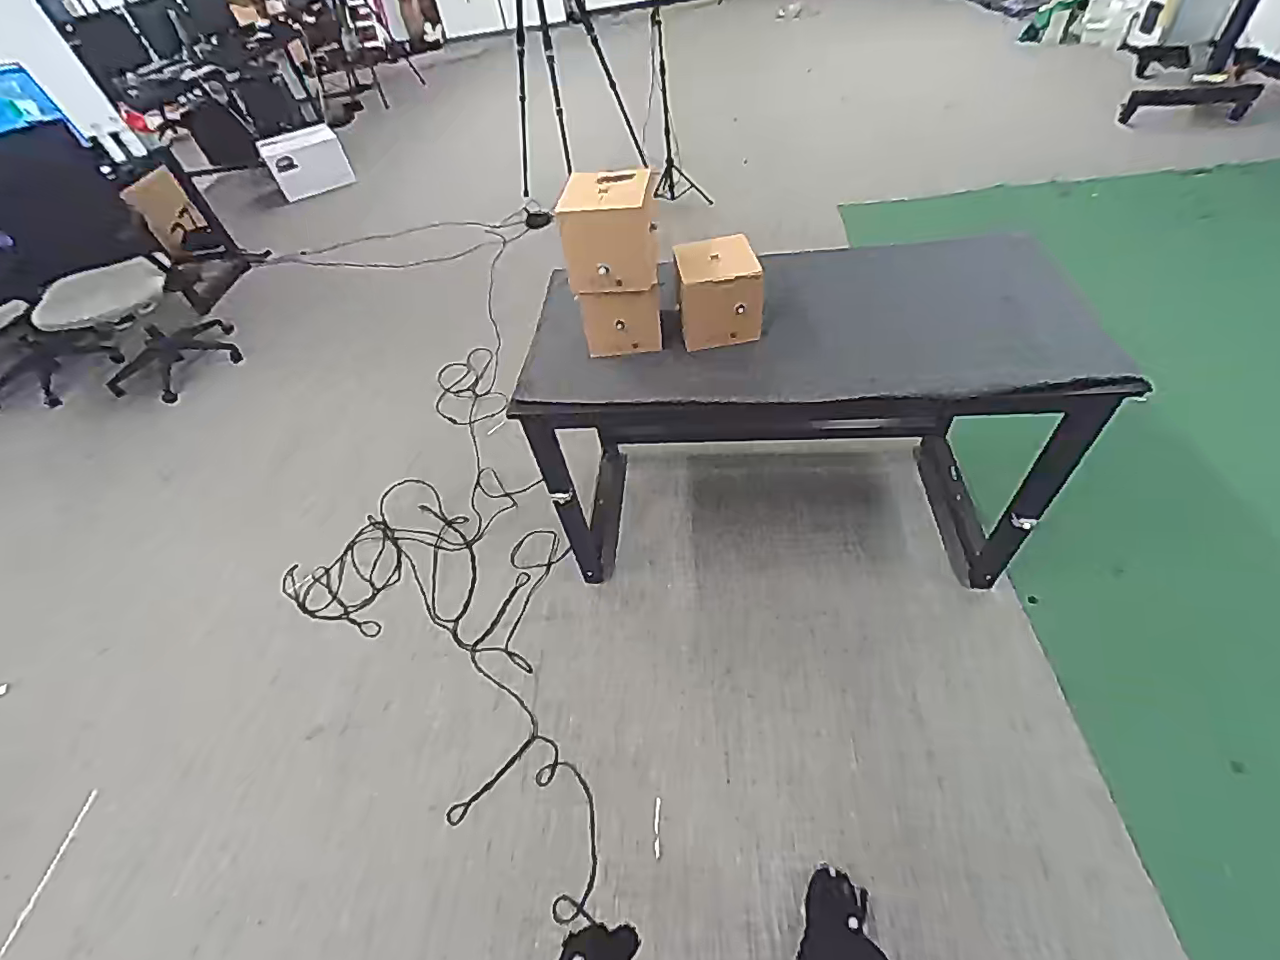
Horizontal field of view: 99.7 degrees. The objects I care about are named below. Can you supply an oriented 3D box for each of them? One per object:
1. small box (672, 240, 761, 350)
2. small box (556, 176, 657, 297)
[{"bbox_3d":[0.167,-0.405,1.206,0.168,0.176,0.179,-8,48,0],"label":"small box"},{"bbox_3d":[-0.058,-0.489,1.093,0.168,0.176,0.179,1,50,9],"label":"small box"}]
